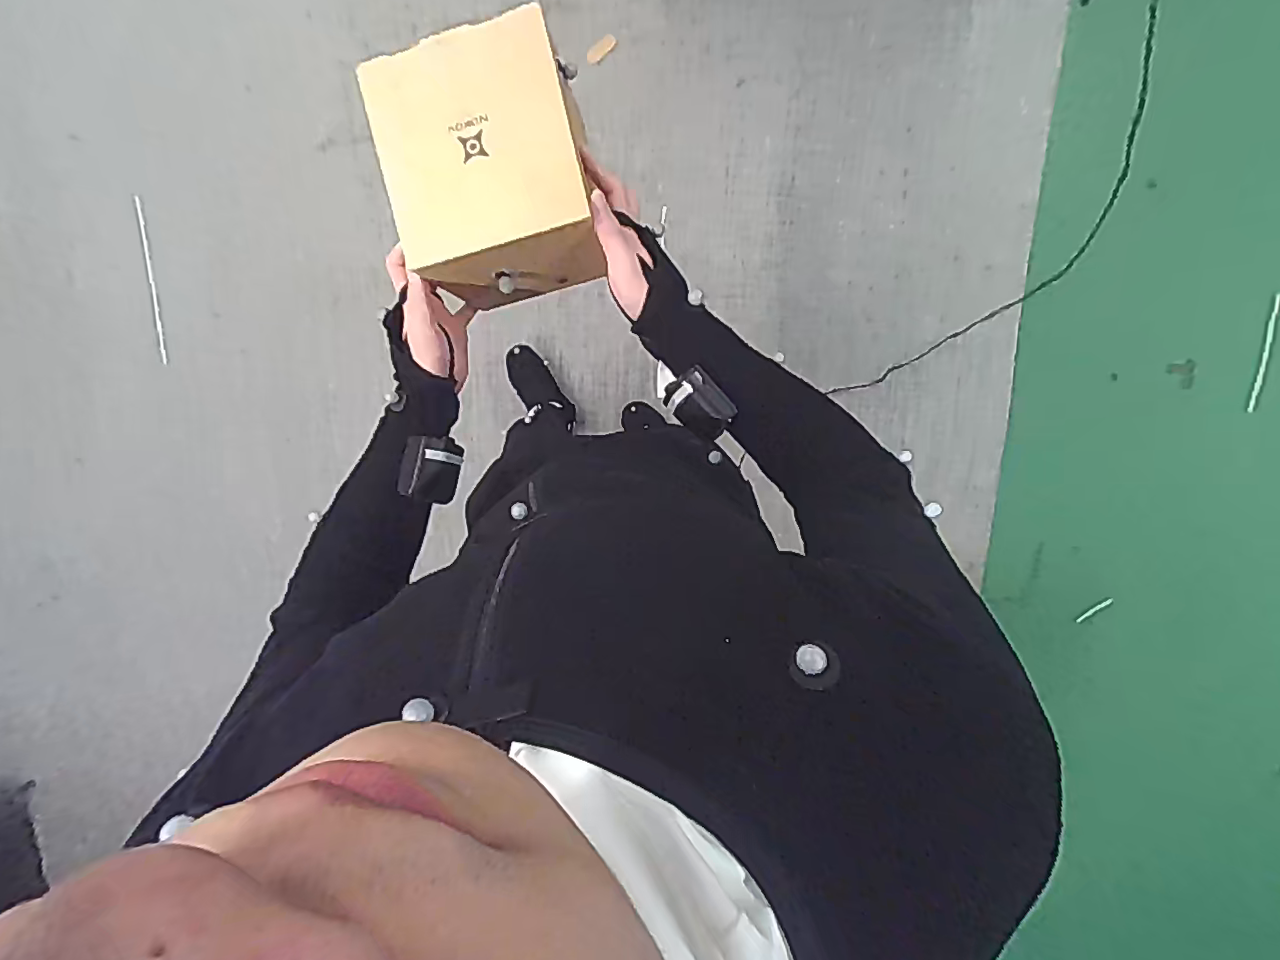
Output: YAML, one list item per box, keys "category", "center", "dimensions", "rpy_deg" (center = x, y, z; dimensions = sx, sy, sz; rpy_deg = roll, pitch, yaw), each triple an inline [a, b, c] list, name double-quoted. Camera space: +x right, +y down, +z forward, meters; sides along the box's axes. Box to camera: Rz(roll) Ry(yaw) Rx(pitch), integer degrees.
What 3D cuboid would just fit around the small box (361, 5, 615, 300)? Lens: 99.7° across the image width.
- category: "small box"
  center: [-0.129, -0.288, 0.527]
  dimensions: [0.168, 0.176, 0.179]
  rpy_deg: [-13, 94, 7]
